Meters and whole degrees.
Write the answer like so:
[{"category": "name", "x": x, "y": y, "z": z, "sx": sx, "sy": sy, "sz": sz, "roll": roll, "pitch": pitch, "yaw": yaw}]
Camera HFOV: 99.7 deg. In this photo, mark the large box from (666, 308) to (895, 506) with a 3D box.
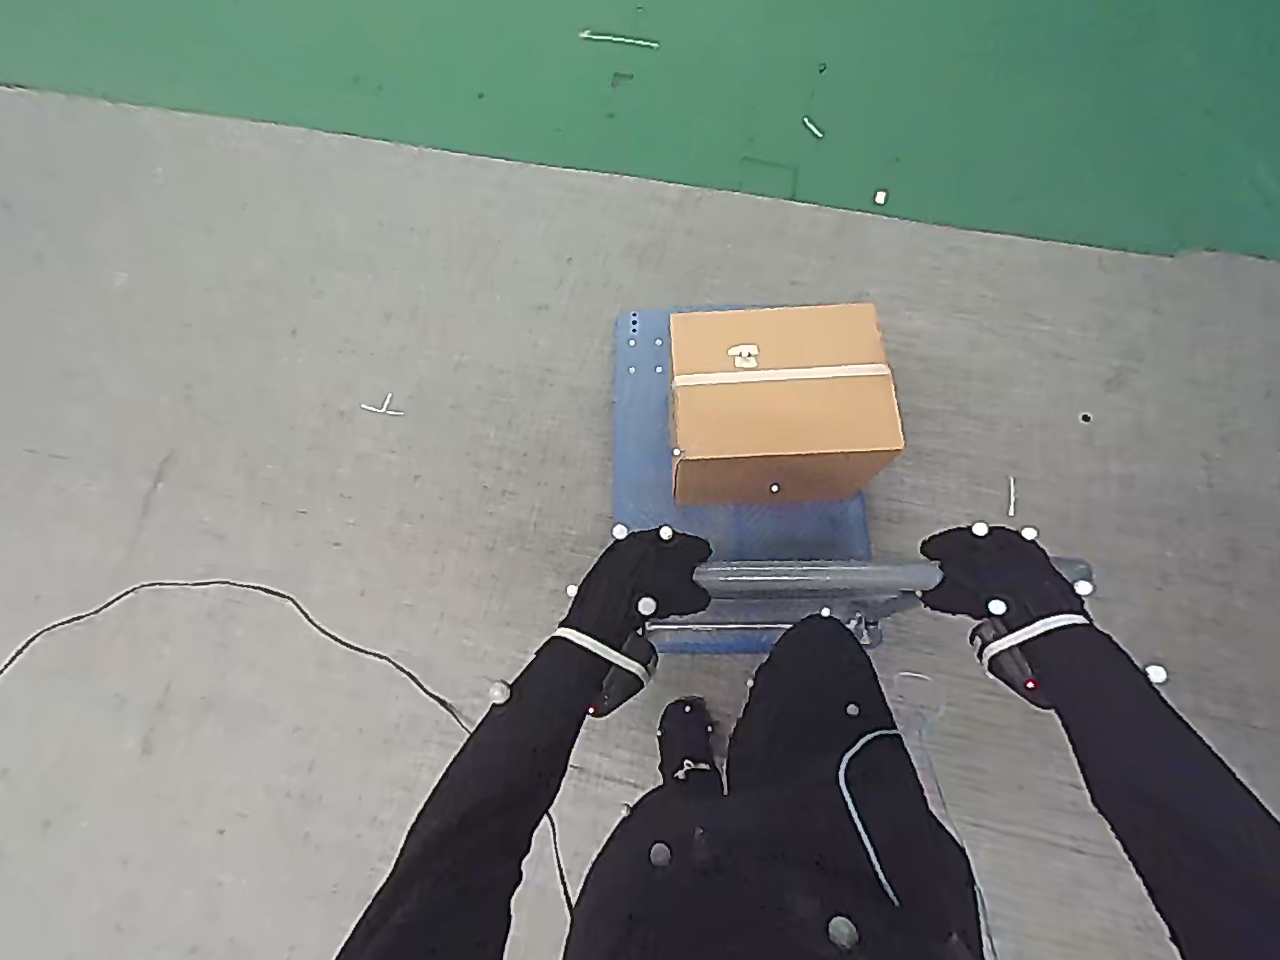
[{"category": "large box", "x": 0.270, "y": -0.137, "z": 1.175, "sx": 0.408, "sy": 0.320, "sz": 0.320, "roll": -3, "pitch": 71, "yaw": 3}]
